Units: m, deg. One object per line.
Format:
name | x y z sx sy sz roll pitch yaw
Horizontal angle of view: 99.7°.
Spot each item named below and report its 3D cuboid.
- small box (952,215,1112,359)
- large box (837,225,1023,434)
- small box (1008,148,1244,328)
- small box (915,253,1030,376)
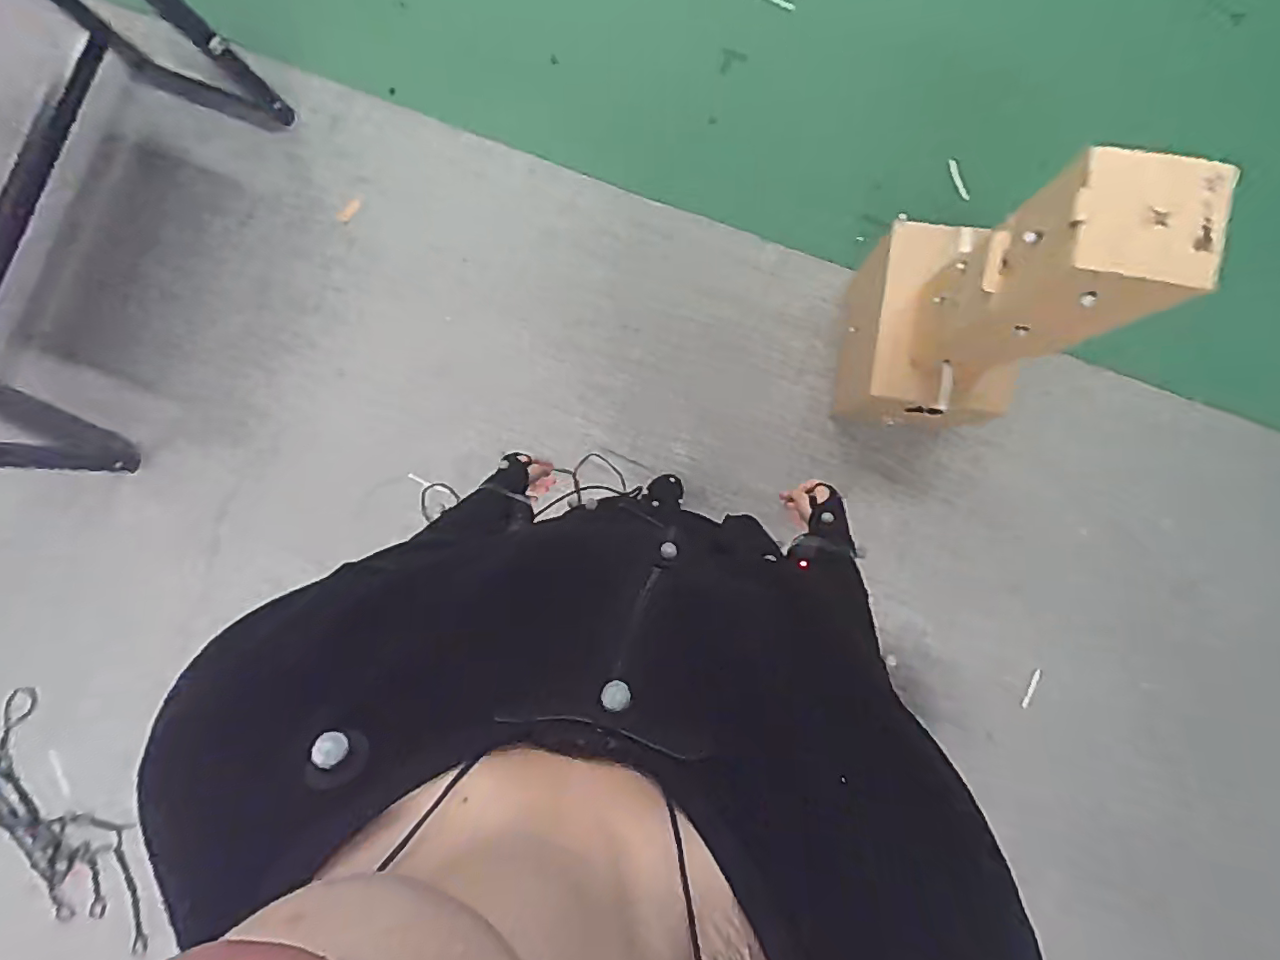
small box | 0.672 -0.319 0.927 0.179 0.176 0.168 14 89 5
large box | 0.702 -0.345 1.336 0.320 0.320 0.408 8 88 3
small box | 0.663 -0.328 0.763 0.179 0.176 0.168 12 90 6
small box | 0.682 -0.325 1.091 0.168 0.176 0.179 12 90 6
